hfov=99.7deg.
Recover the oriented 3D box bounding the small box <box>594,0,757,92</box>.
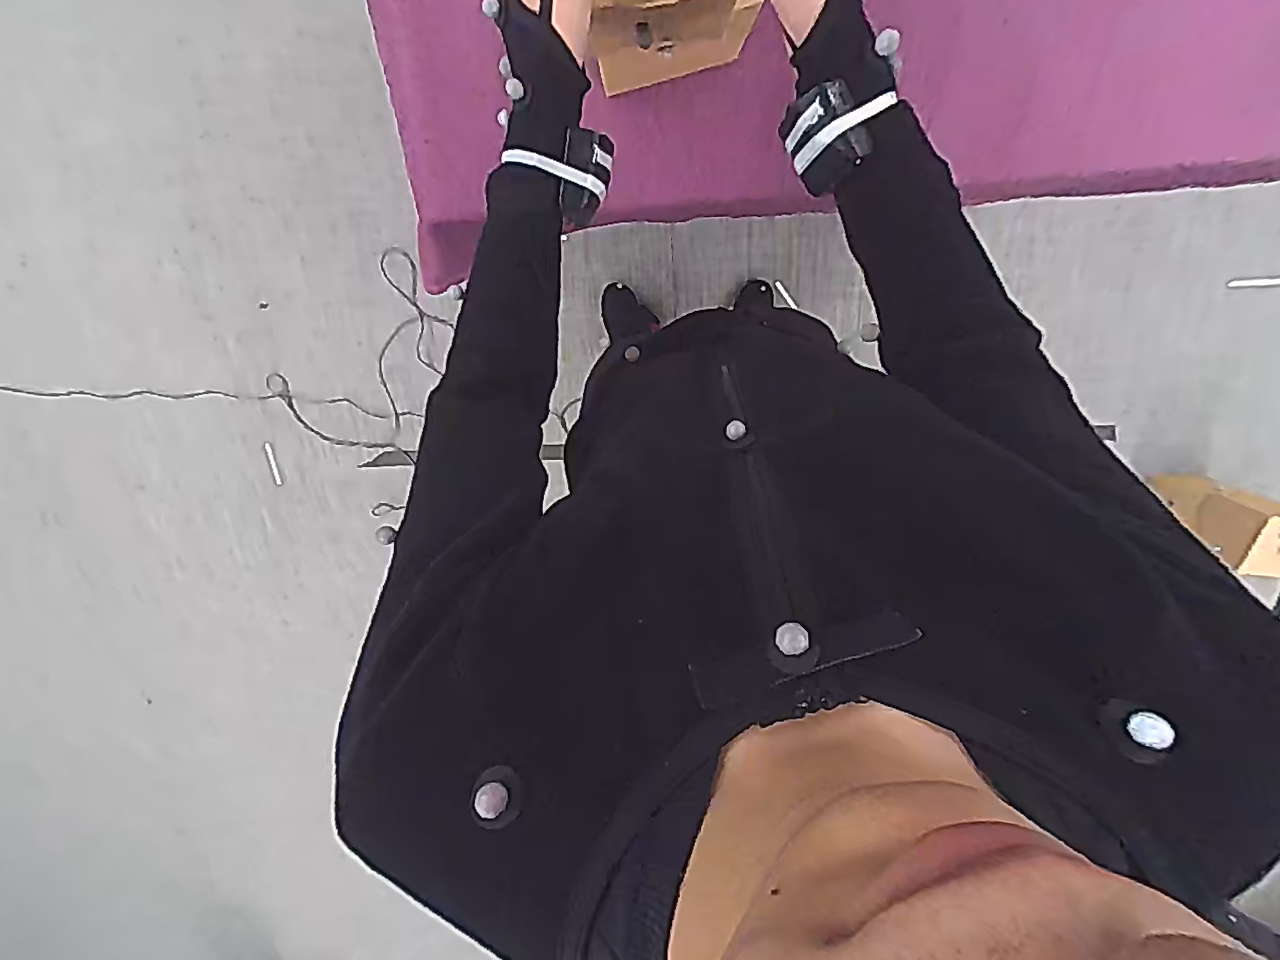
[{"bbox_3d":[0.018,-0.564,0.598,0.179,0.176,0.168,-13,112,4],"label":"small box"}]

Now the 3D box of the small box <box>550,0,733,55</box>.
[{"bbox_3d":[-0.005,-0.494,0.447,0.168,0.176,0.179,-5,112,2],"label":"small box"}]

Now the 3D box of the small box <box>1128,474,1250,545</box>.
[{"bbox_3d":[1.663,0.086,1.652,0.179,0.176,0.168,1,112,-1],"label":"small box"}]
